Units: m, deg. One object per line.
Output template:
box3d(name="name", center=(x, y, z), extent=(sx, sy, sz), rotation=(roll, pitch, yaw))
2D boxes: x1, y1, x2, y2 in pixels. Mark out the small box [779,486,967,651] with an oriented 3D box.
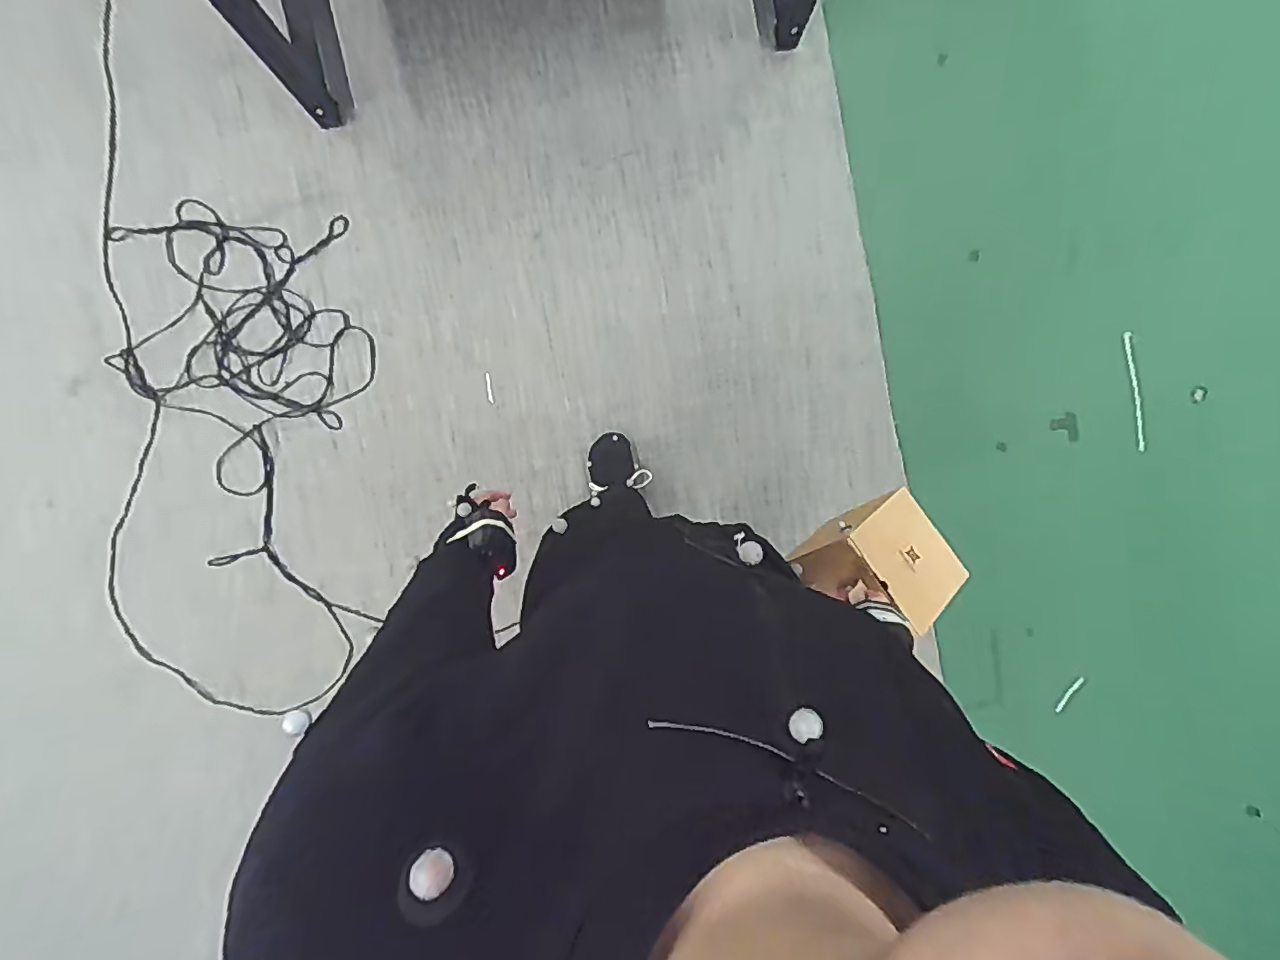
box3d(name="small box", center=(0.350, 0.139, 0.832), extent=(0.179, 0.176, 0.168), rotation=(-30, 82, -34))
